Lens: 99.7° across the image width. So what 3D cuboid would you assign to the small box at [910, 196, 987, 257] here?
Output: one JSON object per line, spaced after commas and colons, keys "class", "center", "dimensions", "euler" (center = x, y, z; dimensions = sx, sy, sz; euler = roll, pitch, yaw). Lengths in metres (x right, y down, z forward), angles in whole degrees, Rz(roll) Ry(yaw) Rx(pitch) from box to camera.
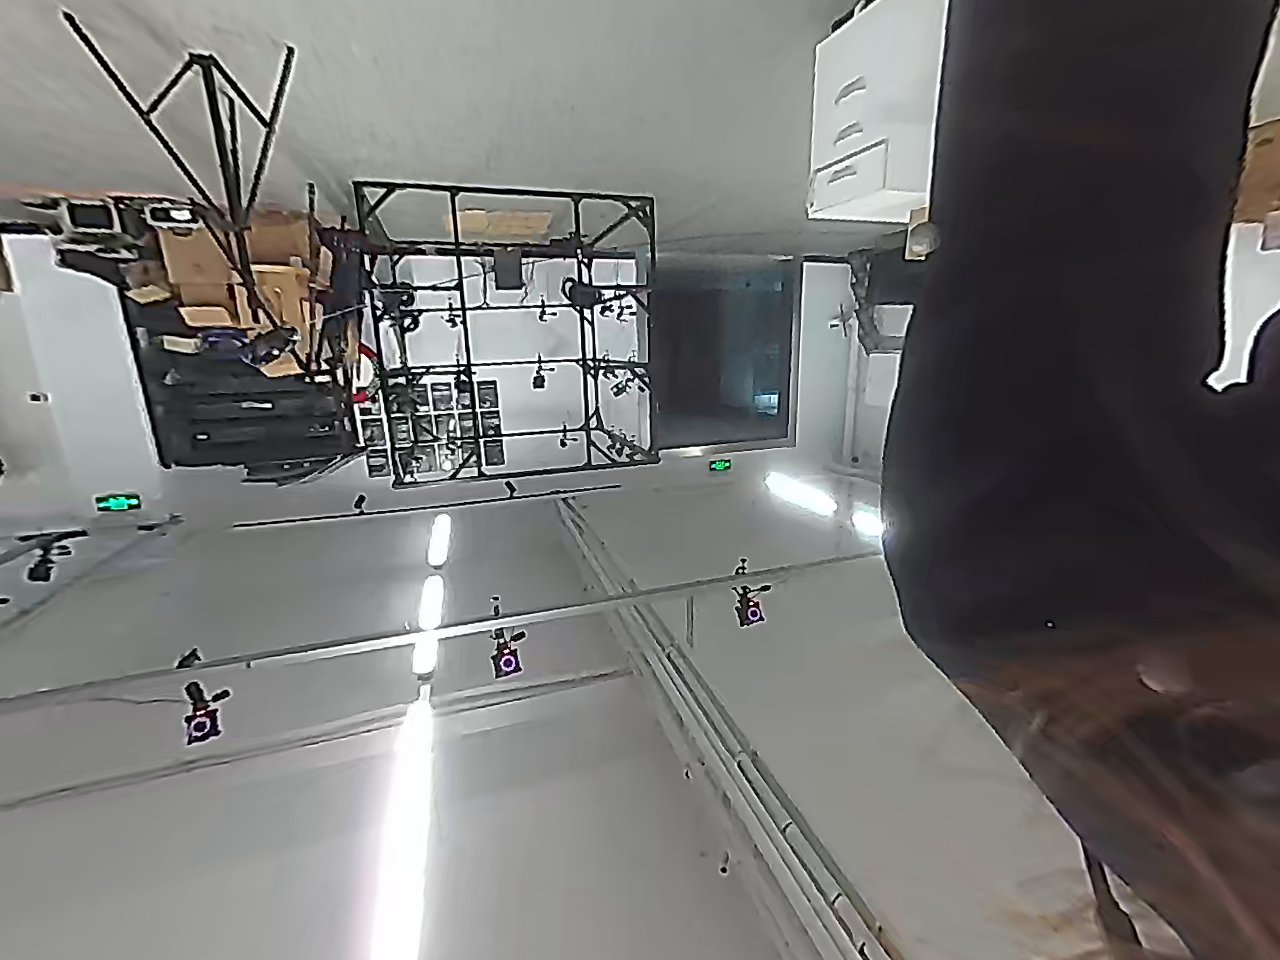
{"class": "small box", "center": [1.108, -0.904, 1.941], "dimensions": [0.168, 0.176, 0.179], "euler": [-7, -164, -17]}
